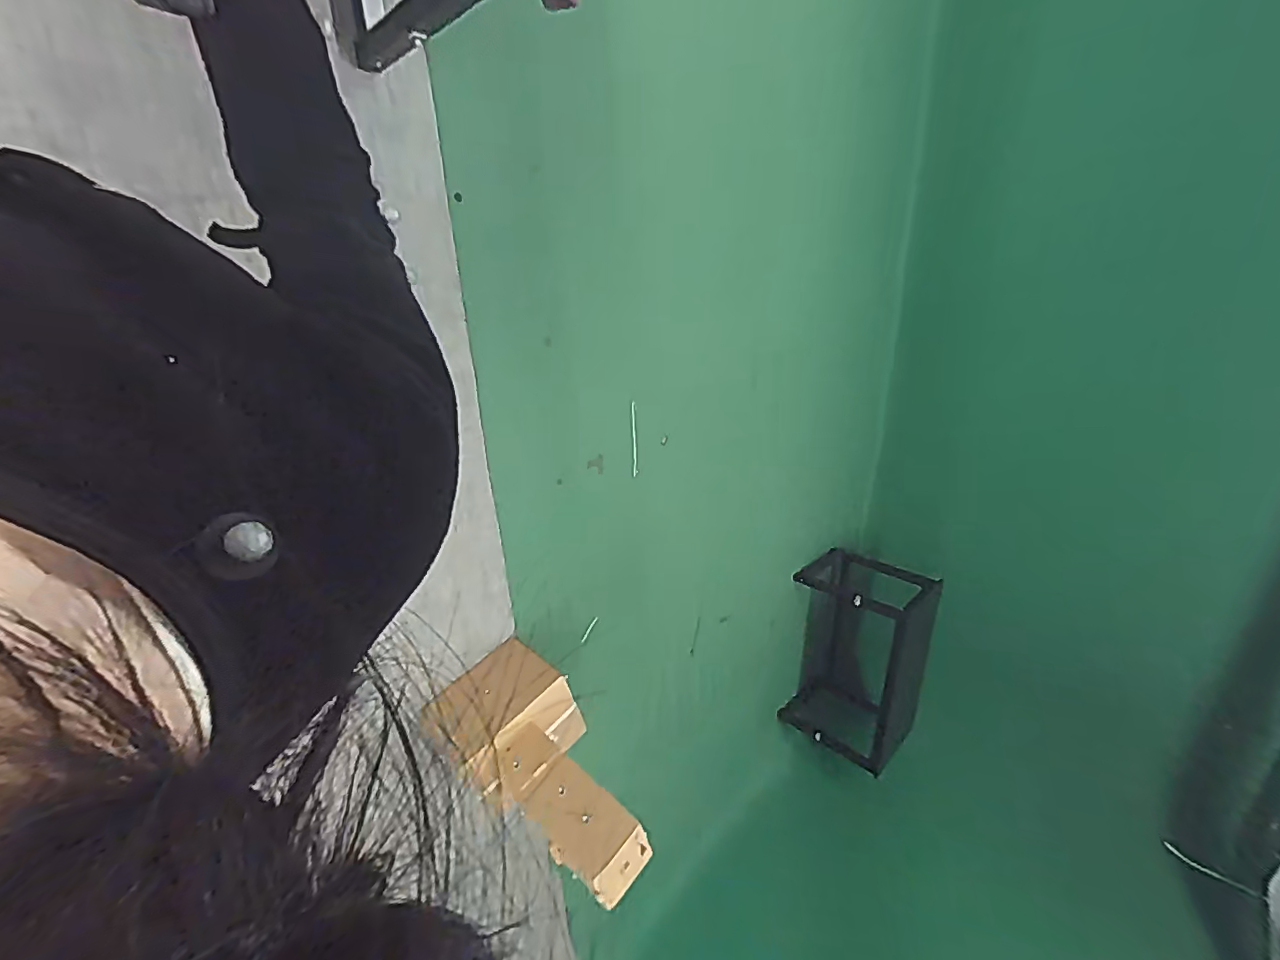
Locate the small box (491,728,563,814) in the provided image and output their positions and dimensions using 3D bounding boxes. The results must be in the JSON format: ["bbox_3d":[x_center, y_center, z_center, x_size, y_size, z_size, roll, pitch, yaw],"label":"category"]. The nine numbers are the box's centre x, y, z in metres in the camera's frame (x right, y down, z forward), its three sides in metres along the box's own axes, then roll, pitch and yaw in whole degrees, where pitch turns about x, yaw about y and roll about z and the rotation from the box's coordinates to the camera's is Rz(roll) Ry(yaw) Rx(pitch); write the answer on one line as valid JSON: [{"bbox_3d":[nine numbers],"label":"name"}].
[{"bbox_3d":[-0.330,0.895,1.656,0.168,0.176,0.179,-36,127,-33],"label":"small box"}]

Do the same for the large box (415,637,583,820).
[{"bbox_3d":[-0.471,0.828,1.848,0.408,0.320,0.320,-38,129,-34],"label":"large box"}]

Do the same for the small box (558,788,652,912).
[{"bbox_3d":[-0.098,0.977,1.438,0.179,0.176,0.168,-35,127,-32],"label":"small box"}]

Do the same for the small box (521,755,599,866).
[{"bbox_3d":[-0.217,0.938,1.546,0.179,0.176,0.168,-37,127,-32],"label":"small box"}]
